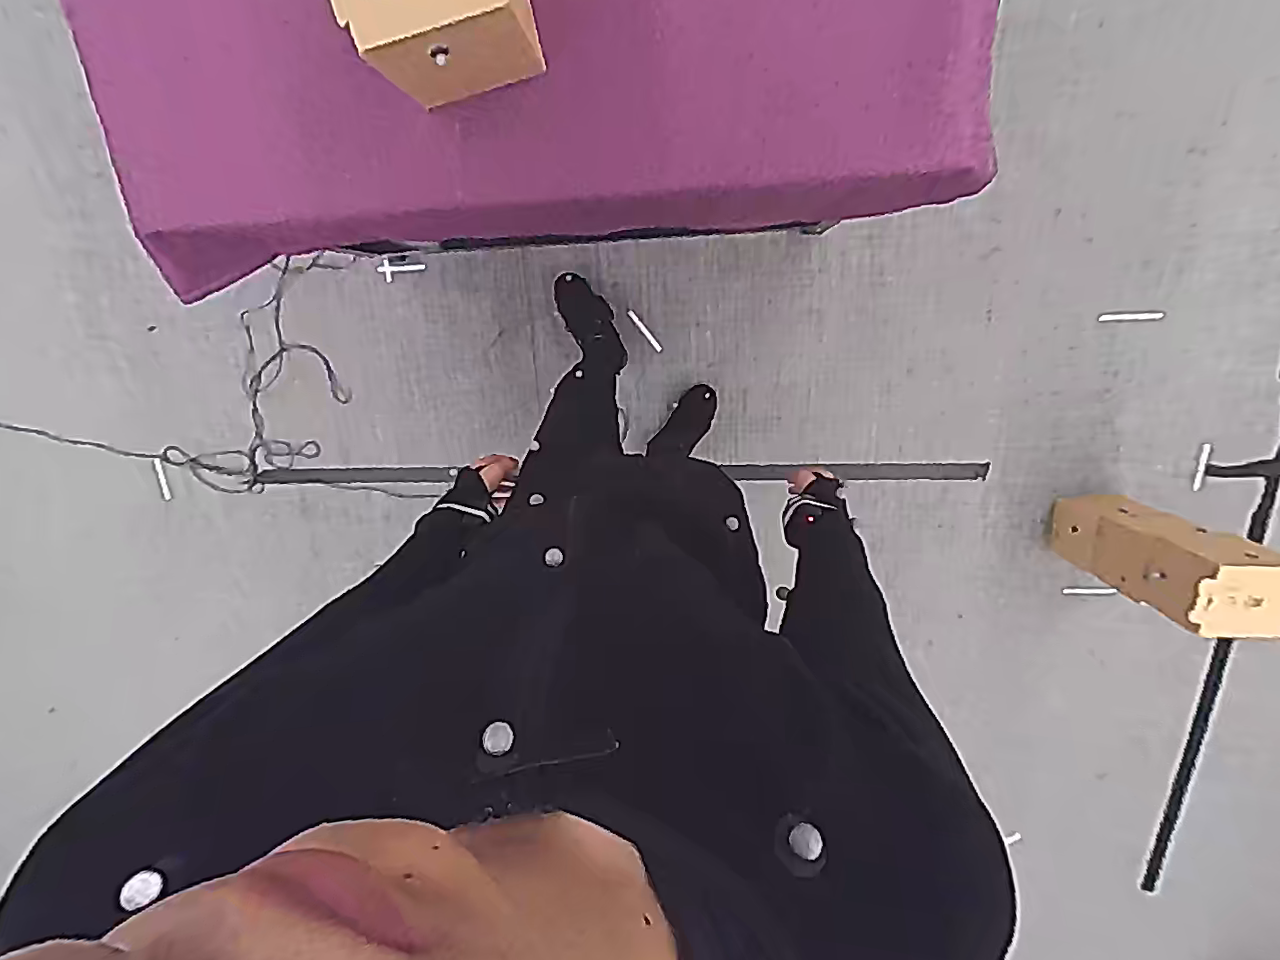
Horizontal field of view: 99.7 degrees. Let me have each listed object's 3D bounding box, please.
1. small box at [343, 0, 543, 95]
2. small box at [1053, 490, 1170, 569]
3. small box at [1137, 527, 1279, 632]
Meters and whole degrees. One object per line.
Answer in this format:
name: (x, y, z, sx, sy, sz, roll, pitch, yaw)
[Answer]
small box: (-0.230, -0.578, 0.616, 0.179, 0.176, 0.168, -12, 106, 7)
small box: (1.287, 0.132, 1.491, 0.179, 0.176, 0.168, -5, 107, 6)
small box: (1.253, 0.209, 1.171, 0.179, 0.176, 0.168, 0, 108, 5)
